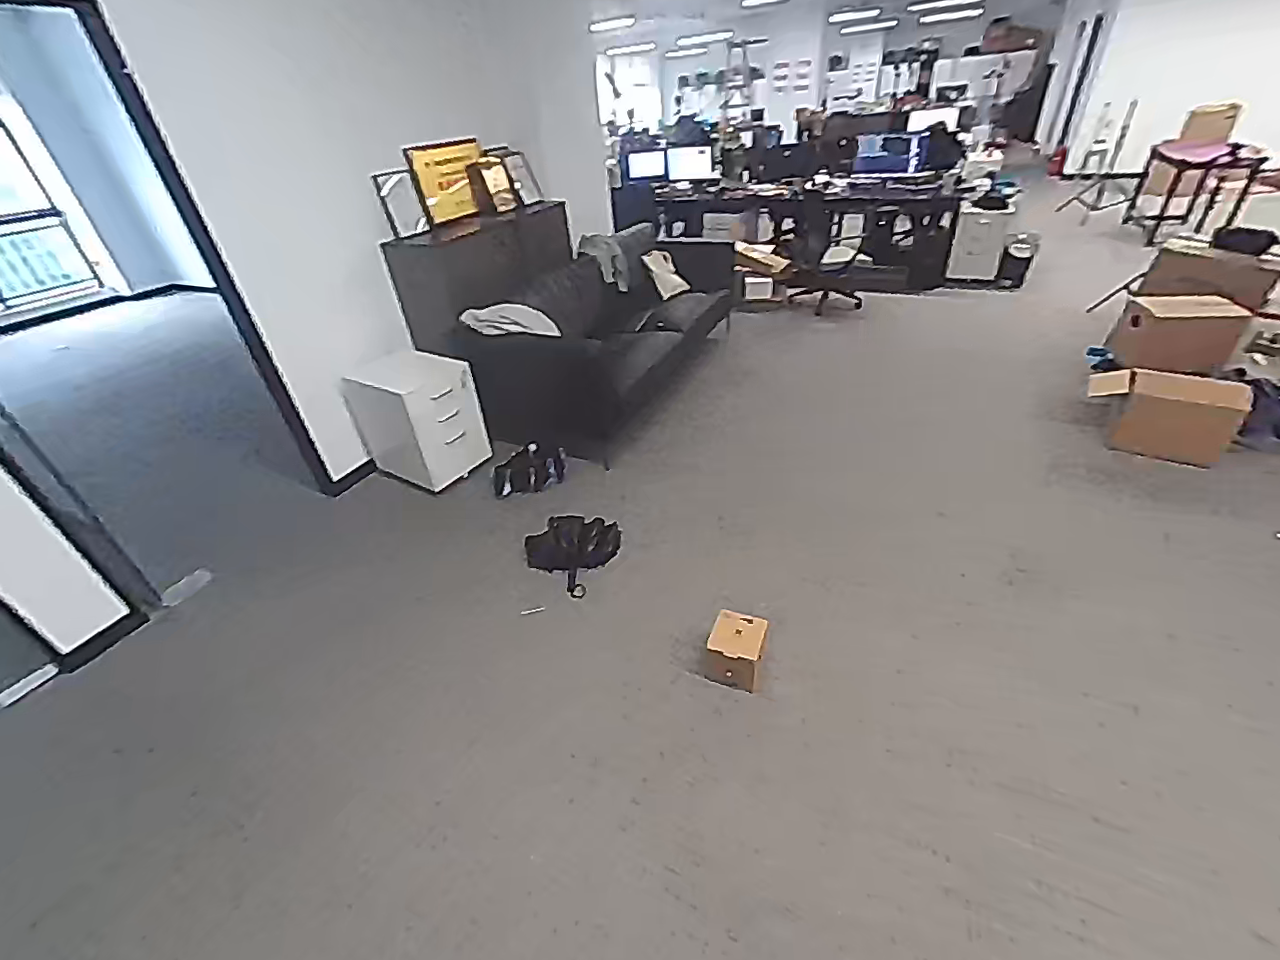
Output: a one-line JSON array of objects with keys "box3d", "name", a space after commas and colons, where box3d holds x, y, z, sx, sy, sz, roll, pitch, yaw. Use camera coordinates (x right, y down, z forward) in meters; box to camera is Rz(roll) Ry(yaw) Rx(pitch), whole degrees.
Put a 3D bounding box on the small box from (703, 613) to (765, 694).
[{"box3d": [0.320, 0.585, 1.817, 0.168, 0.176, 0.179, 10, 38, 22], "name": "small box"}]
